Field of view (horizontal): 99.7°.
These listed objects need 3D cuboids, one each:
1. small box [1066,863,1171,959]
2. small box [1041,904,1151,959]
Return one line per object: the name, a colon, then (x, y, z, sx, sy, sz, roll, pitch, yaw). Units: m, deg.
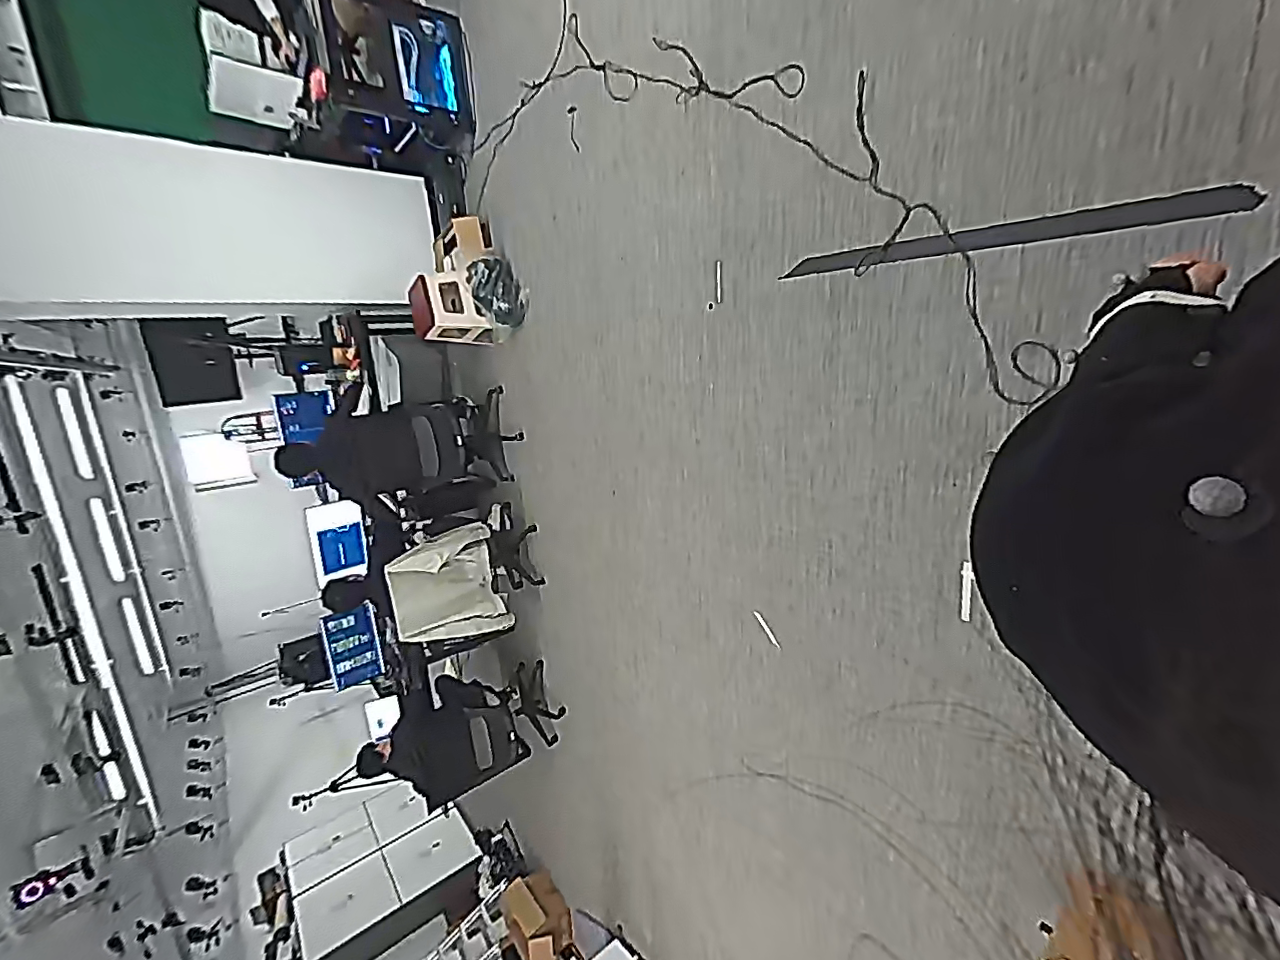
small box: (1.152, 1.088, 1.307, 0.168, 0.176, 0.179, 7, 109, 52)
small box: (1.021, 1.120, 1.213, 0.168, 0.176, 0.179, 9, 109, 52)
